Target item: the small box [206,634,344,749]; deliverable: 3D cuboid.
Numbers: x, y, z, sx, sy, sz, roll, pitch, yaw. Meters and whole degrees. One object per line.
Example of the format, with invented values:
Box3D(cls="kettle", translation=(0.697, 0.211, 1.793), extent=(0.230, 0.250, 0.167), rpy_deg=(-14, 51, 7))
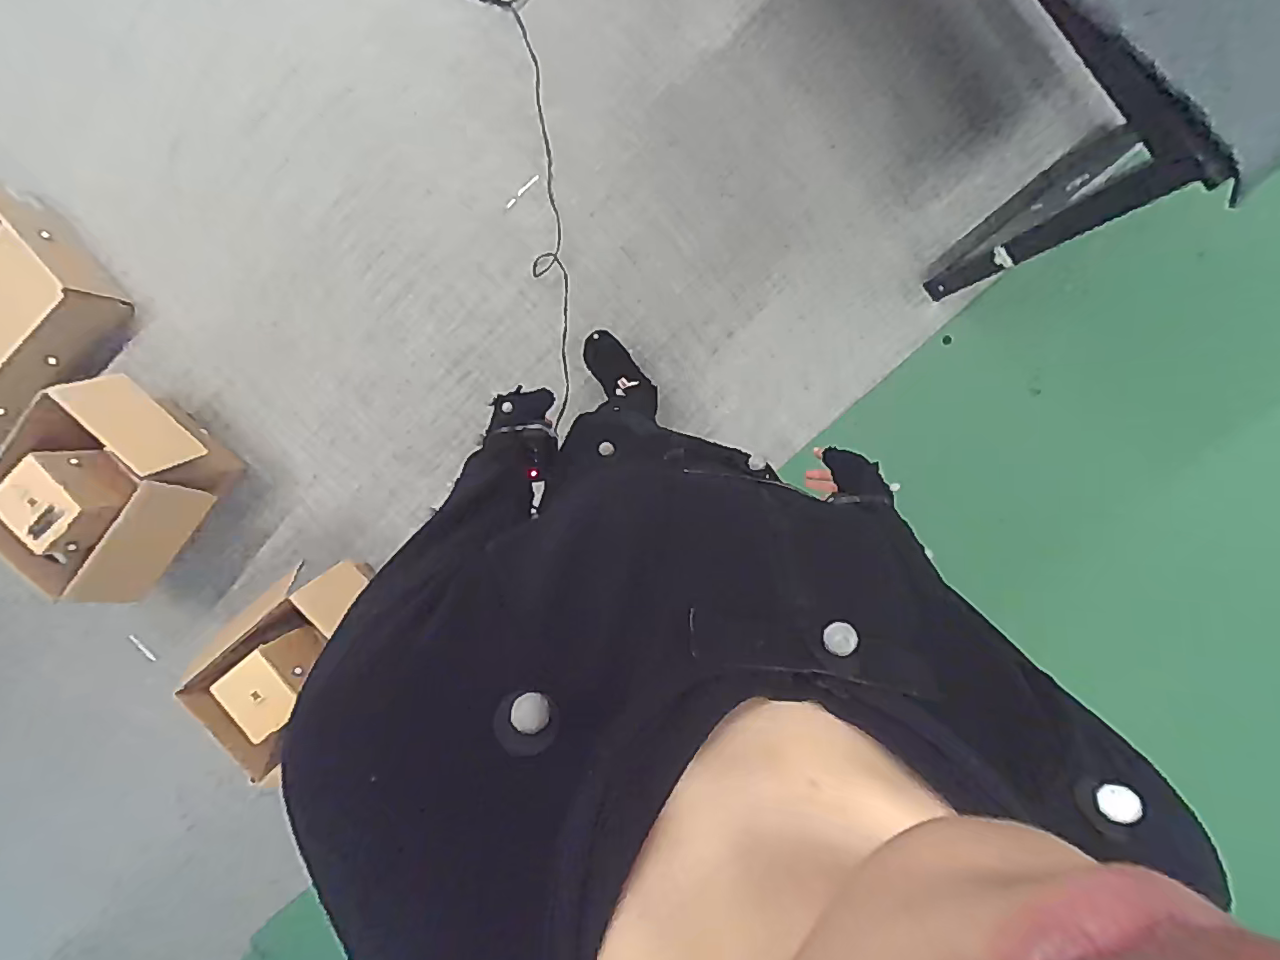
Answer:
Box3D(cls="small box", translation=(-0.872, 0.497, 1.308), extent=(0.168, 0.176, 0.179), rpy_deg=(-38, 92, 7))
